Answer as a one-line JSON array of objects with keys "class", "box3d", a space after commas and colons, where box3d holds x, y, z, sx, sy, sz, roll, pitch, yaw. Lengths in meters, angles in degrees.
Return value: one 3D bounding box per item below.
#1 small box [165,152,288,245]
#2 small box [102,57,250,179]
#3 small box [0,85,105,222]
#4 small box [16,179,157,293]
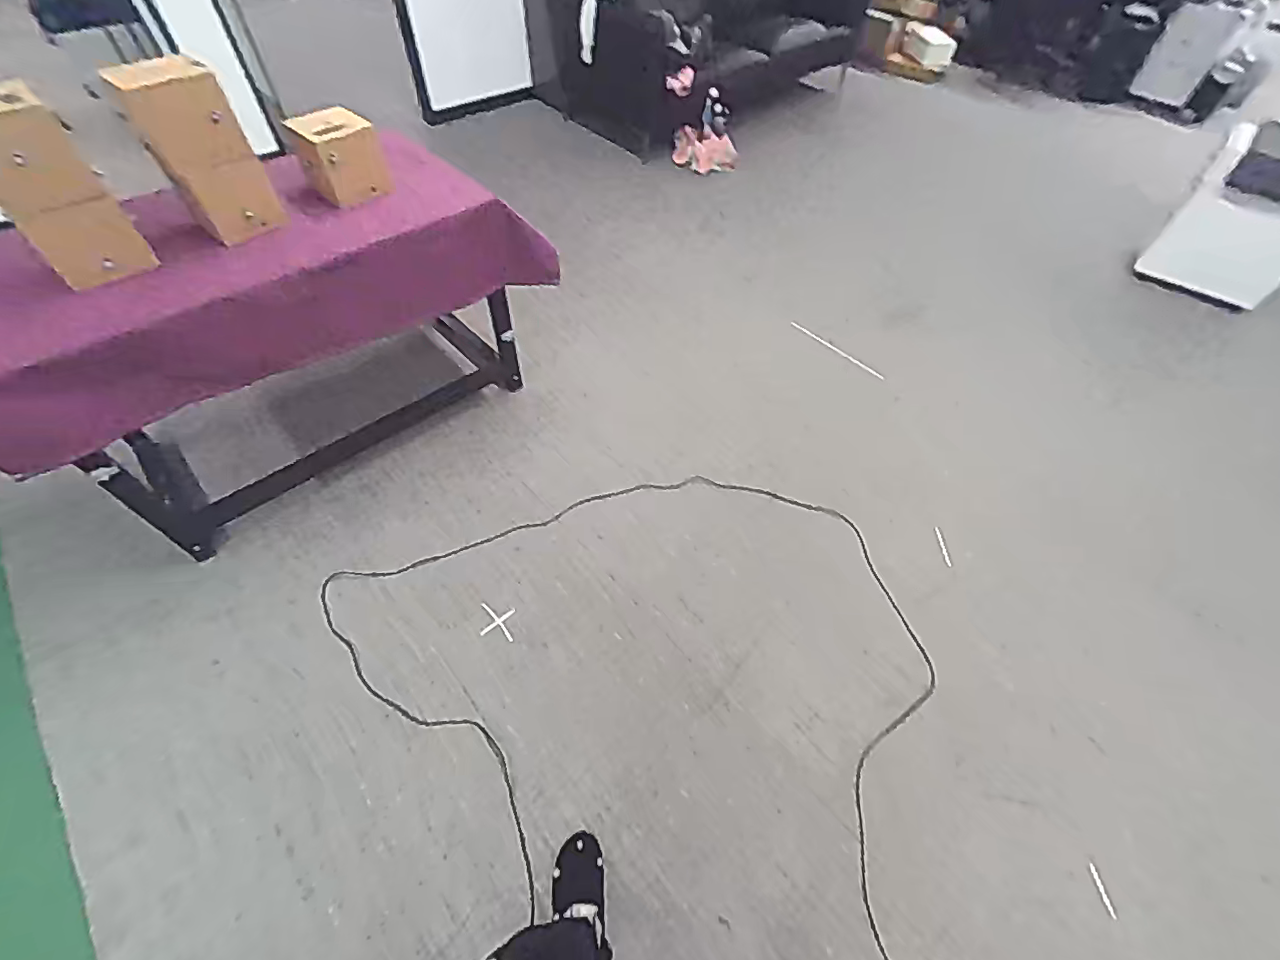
[{"class": "small box", "box3d": [-1.032, -0.719, 1.350, 0.179, 0.176, 0.168, 35, 60, 21]}, {"class": "small box", "box3d": [-1.027, -0.813, 1.217, 0.168, 0.176, 0.179, 36, 60, 23]}, {"class": "small box", "box3d": [-1.240, -0.655, 1.088, 0.179, 0.176, 0.168, -38, 63, -25]}, {"class": "small box", "box3d": [-1.246, -0.556, 1.219, 0.179, 0.176, 0.168, -37, 63, -26]}]
